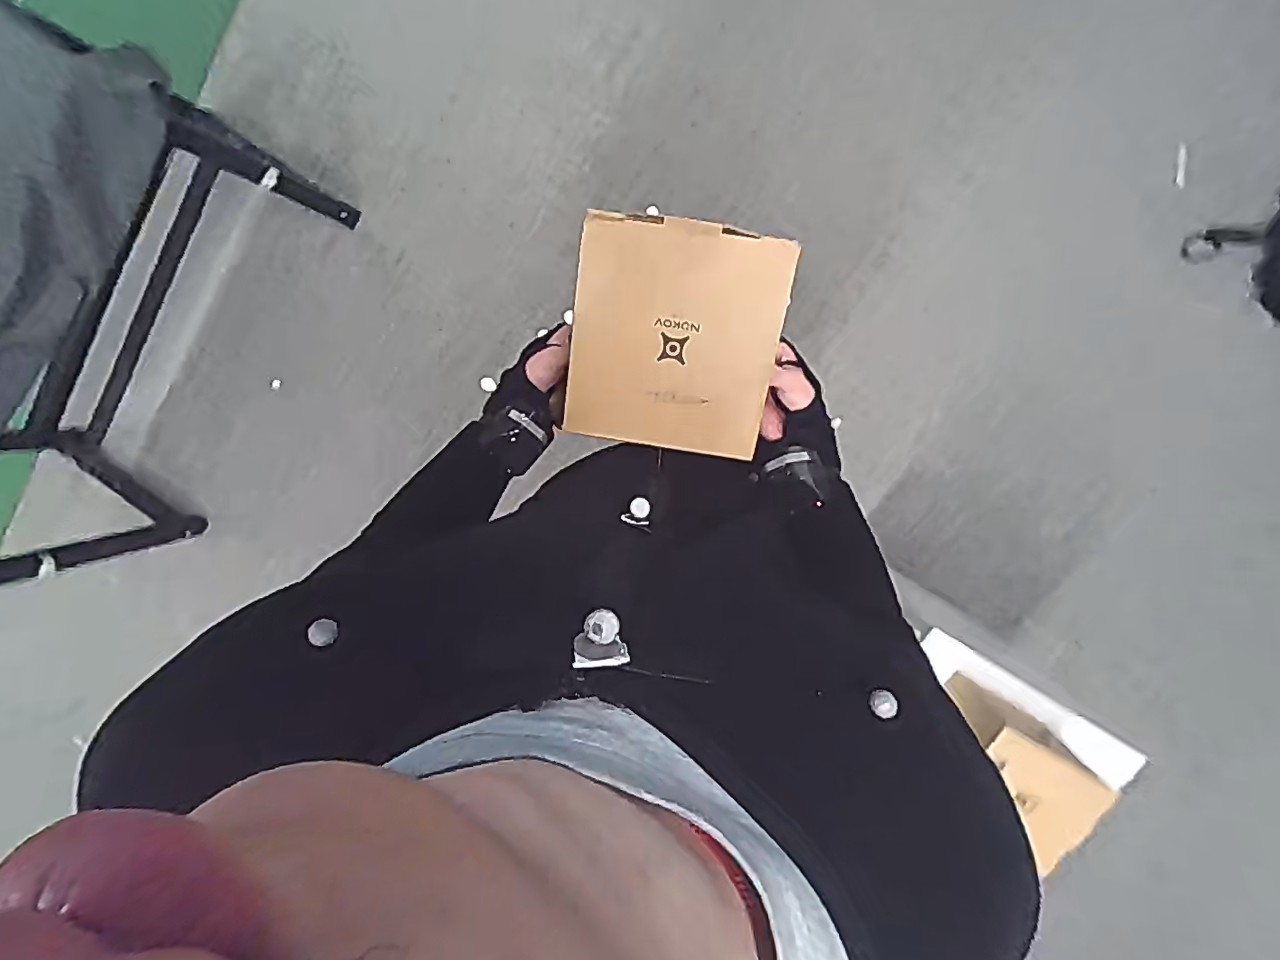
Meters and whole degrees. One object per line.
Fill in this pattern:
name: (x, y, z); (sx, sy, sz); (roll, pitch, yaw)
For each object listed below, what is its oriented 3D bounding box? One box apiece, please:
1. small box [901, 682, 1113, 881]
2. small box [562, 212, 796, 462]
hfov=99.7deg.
small box: (0.546, 0.449, 0.835); (0.179, 0.176, 0.168); (31, 102, 3)
small box: (0.031, -0.135, 0.508); (0.168, 0.176, 0.179); (9, 111, 1)
